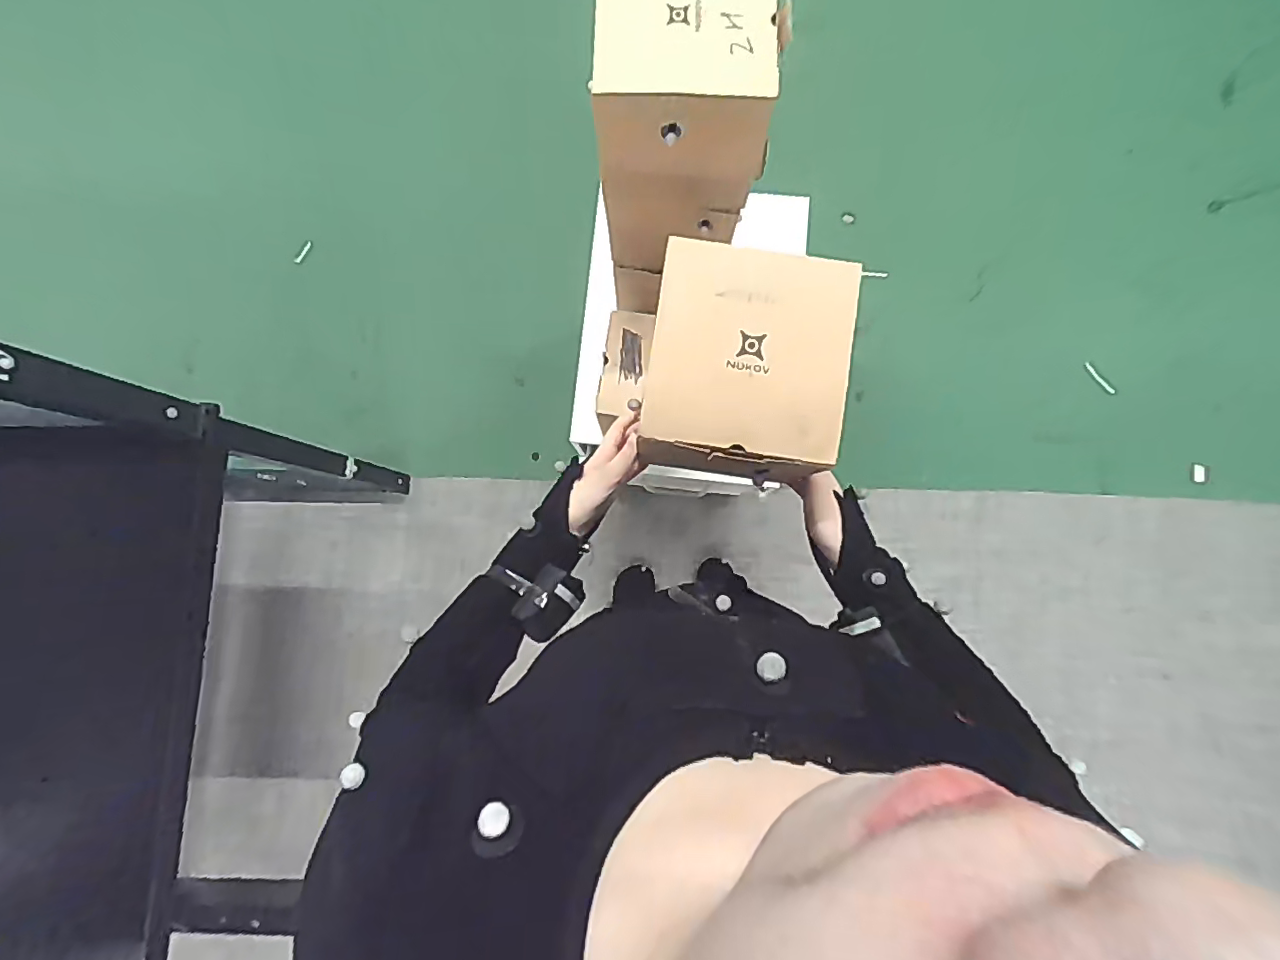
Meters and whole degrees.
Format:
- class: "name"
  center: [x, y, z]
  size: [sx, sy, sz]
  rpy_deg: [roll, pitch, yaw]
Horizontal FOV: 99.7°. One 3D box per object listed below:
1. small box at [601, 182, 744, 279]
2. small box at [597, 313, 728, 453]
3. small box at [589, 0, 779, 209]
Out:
- class: "small box"
  center: [0.051, -0.399, 0.744]
  size: [0.179, 0.176, 0.168]
  rpy_deg: [9, 82, 1]
- class: "small box"
  center: [0.035, -0.146, 0.872]
  size: [0.179, 0.176, 0.168]
  rpy_deg: [8, 82, 1]
- class: "small box"
  center: [0.044, -0.416, 0.581]
  size: [0.179, 0.176, 0.168]
  rpy_deg: [1, 83, 0]
